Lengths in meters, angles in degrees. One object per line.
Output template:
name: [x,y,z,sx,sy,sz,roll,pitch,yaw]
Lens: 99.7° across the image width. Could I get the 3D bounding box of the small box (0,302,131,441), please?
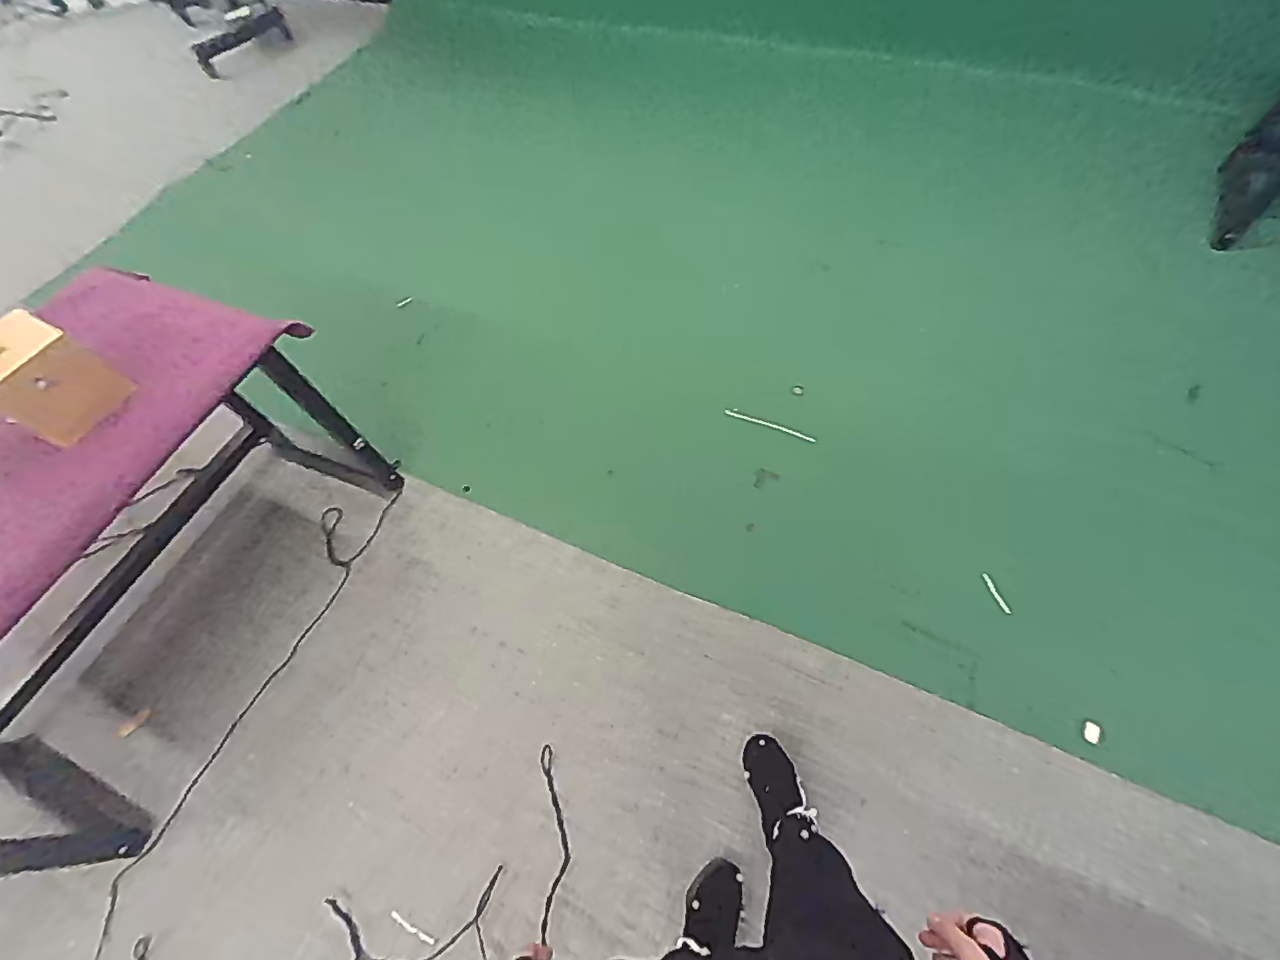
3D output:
small box: [-1.182,-0.212,1.075,0.168,0.176,0.179,25,67,16]
